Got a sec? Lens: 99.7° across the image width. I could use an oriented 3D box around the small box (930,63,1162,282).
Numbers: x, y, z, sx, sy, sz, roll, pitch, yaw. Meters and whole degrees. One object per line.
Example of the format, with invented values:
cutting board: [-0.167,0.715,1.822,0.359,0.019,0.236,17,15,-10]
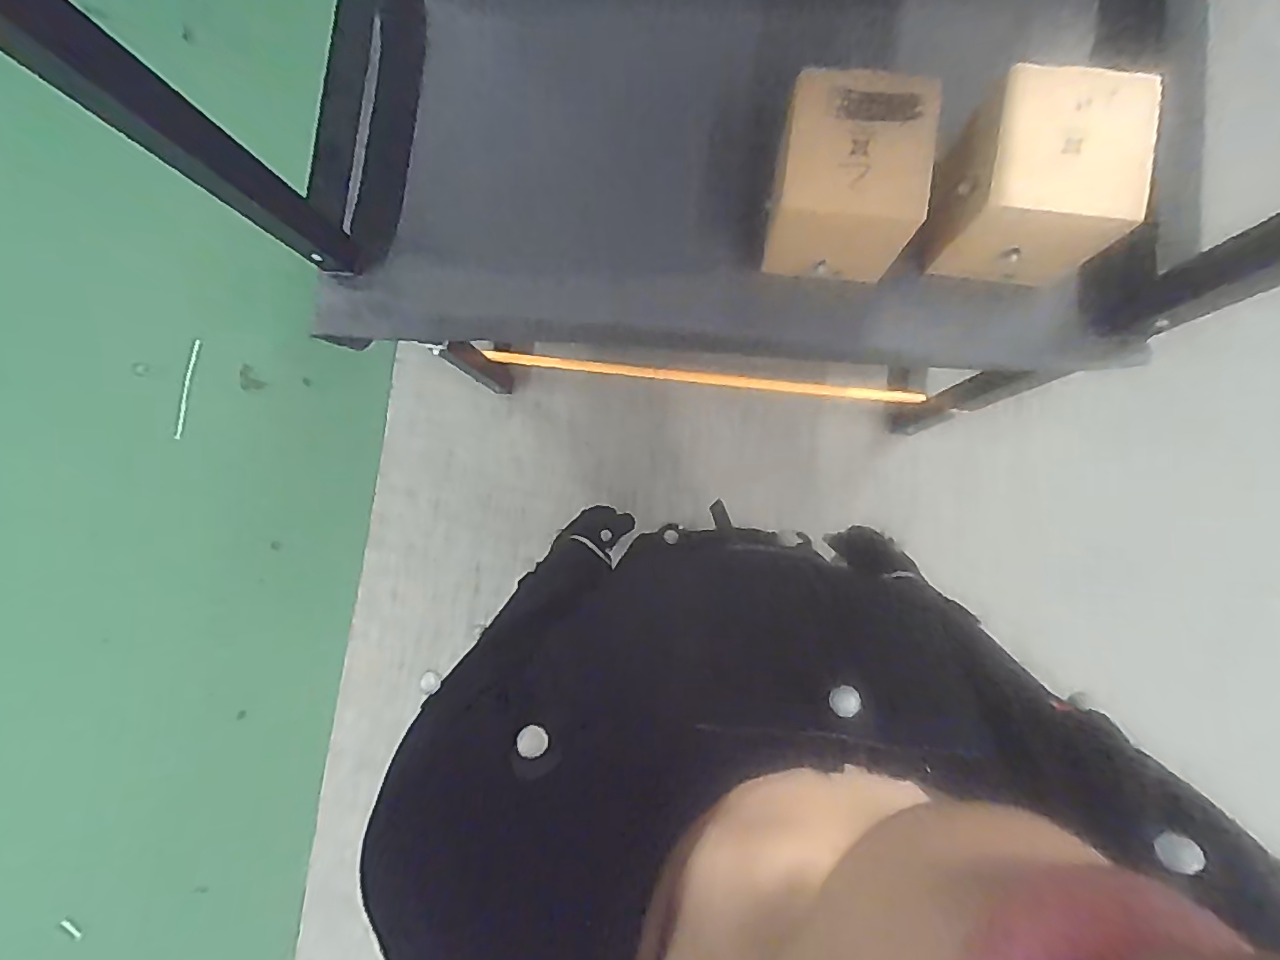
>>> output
small box: [0.493,-0.373,0.685,0.168,0.176,0.179,10,86,6]
